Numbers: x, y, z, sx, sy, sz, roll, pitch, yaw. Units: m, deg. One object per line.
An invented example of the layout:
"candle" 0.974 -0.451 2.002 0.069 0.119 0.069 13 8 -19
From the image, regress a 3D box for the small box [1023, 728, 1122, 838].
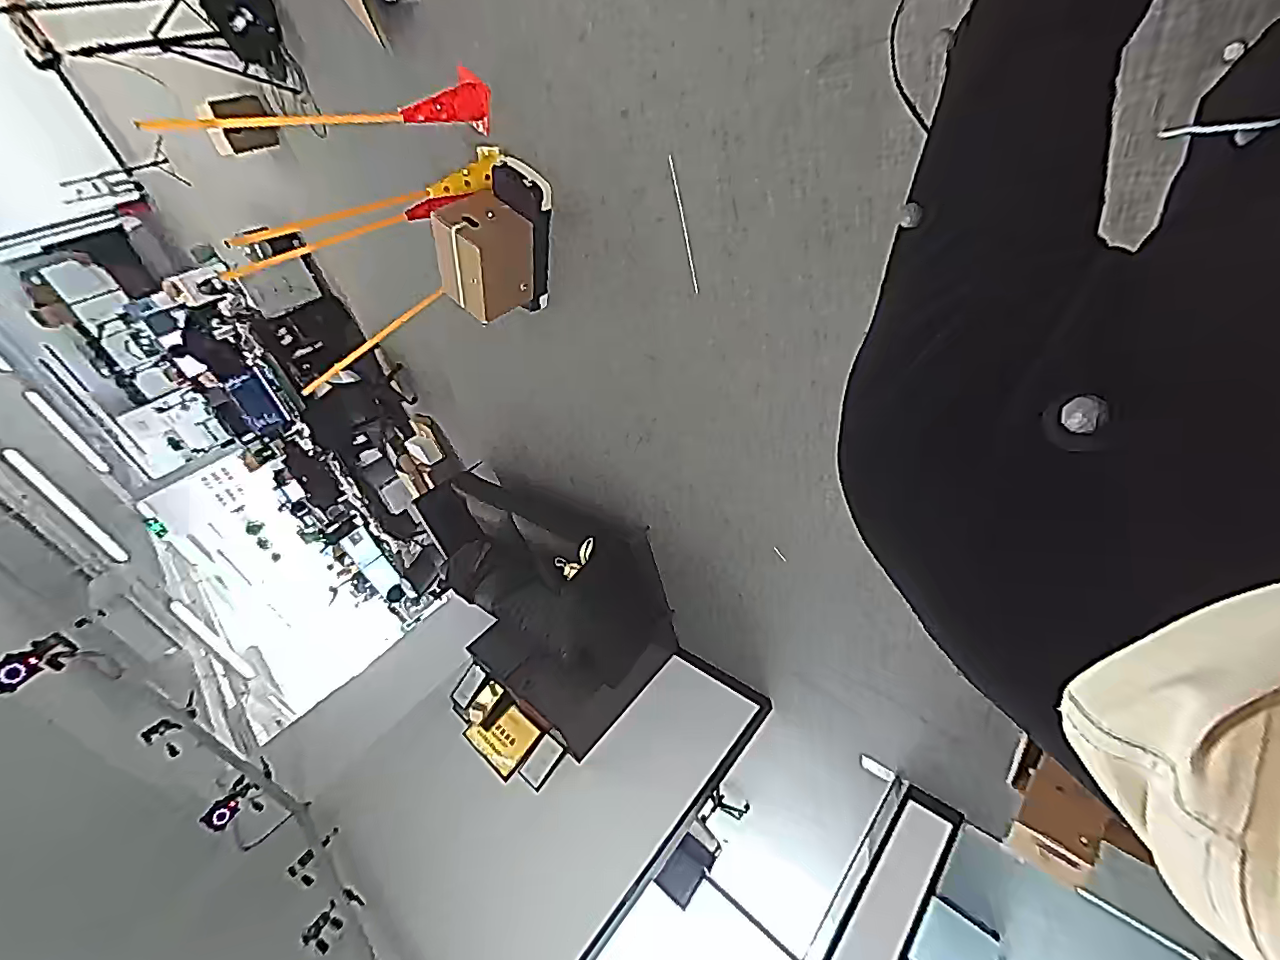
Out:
"small box" 1.216 0.844 1.519 0.168 0.176 0.179 22 139 41
